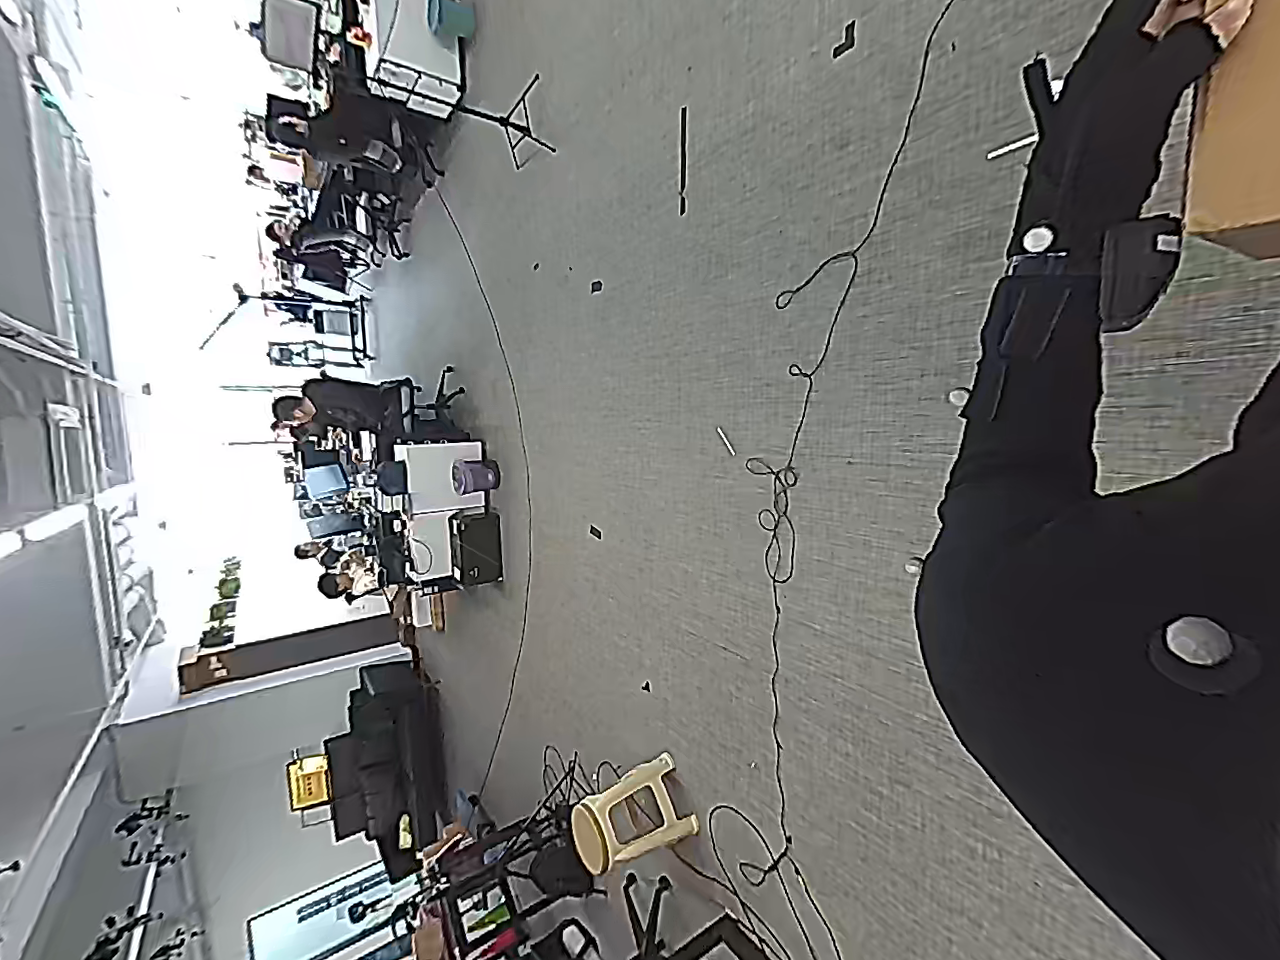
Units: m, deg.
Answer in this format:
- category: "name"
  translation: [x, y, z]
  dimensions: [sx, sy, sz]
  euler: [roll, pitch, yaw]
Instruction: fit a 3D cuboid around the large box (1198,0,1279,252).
- category: "large box"
  translation: [0.549, -0.311, 0.226]
  dimensions: [0.408, 0.320, 0.320]
  euler: [9, 109, 51]
